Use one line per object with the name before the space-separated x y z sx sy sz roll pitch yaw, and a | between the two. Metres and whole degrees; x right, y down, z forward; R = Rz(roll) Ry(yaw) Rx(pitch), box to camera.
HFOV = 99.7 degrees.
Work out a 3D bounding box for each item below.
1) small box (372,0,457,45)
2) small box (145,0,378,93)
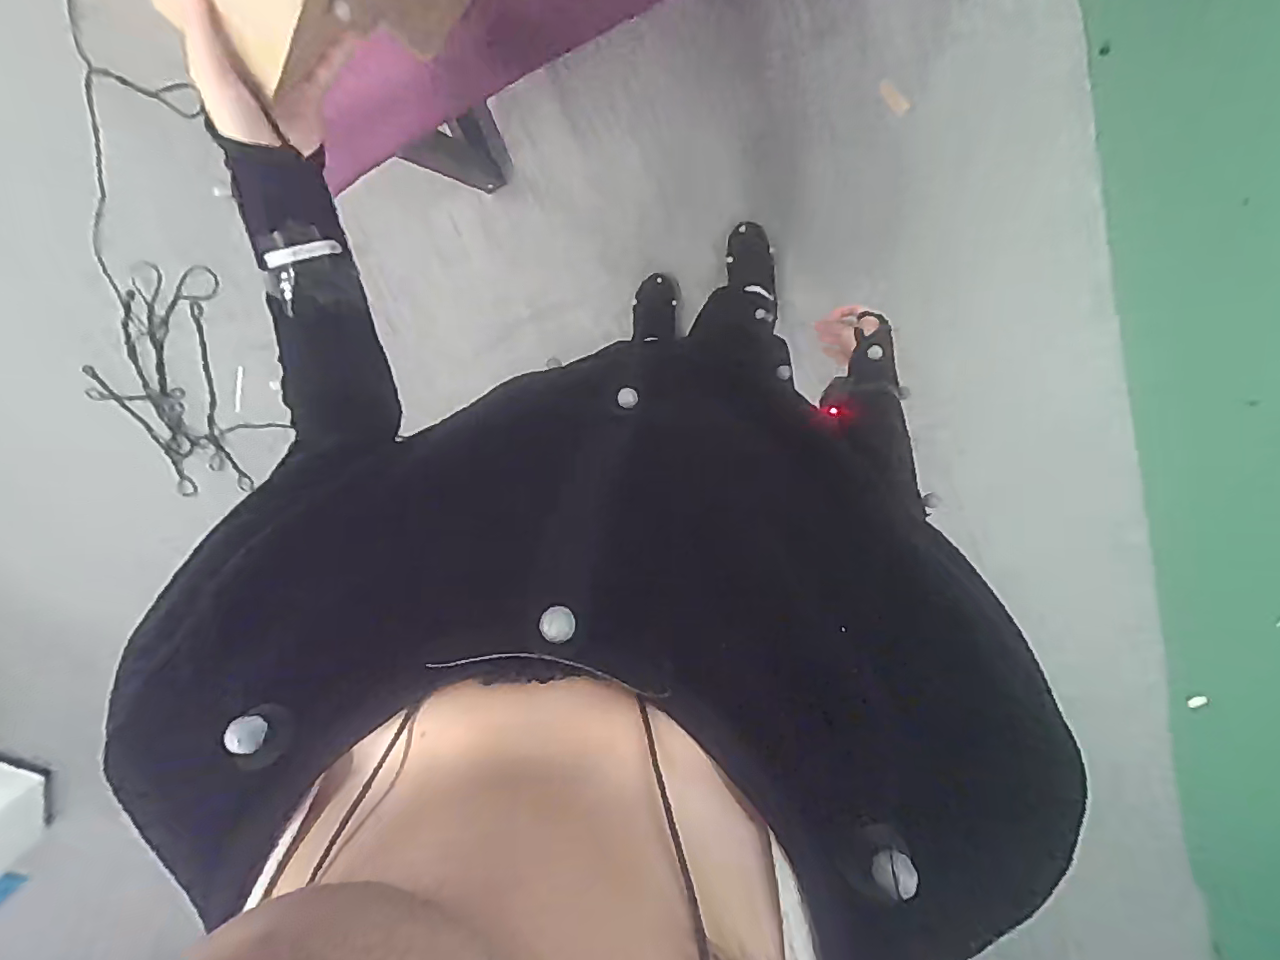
small box | -0.242 -0.551 0.483 0.168 0.176 0.179 42 108 -12
small box | -0.243 -0.396 0.321 0.168 0.176 0.179 36 142 -30
